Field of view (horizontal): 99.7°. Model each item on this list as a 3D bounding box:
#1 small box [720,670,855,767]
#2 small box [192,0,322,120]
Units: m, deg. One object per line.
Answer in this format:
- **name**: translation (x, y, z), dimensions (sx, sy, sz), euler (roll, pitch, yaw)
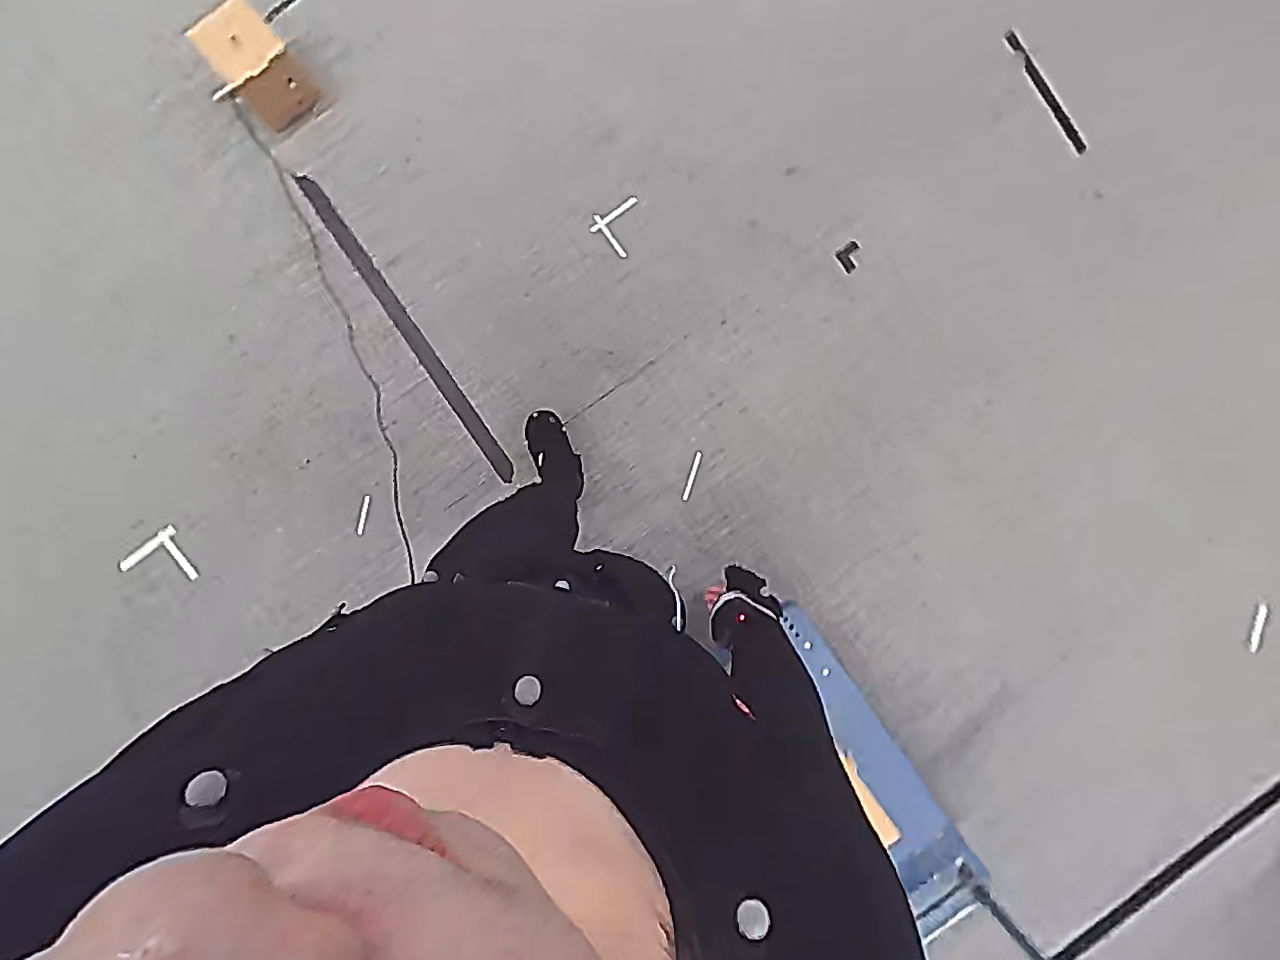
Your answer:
- **small box**: translation (0.280, 0.503, 1.073), dimensions (0.168, 0.176, 0.179), euler (-38, 91, 0)
- **small box**: translation (-0.963, -1.067, 1.379), dimensions (0.168, 0.176, 0.179), euler (-40, 91, -1)
